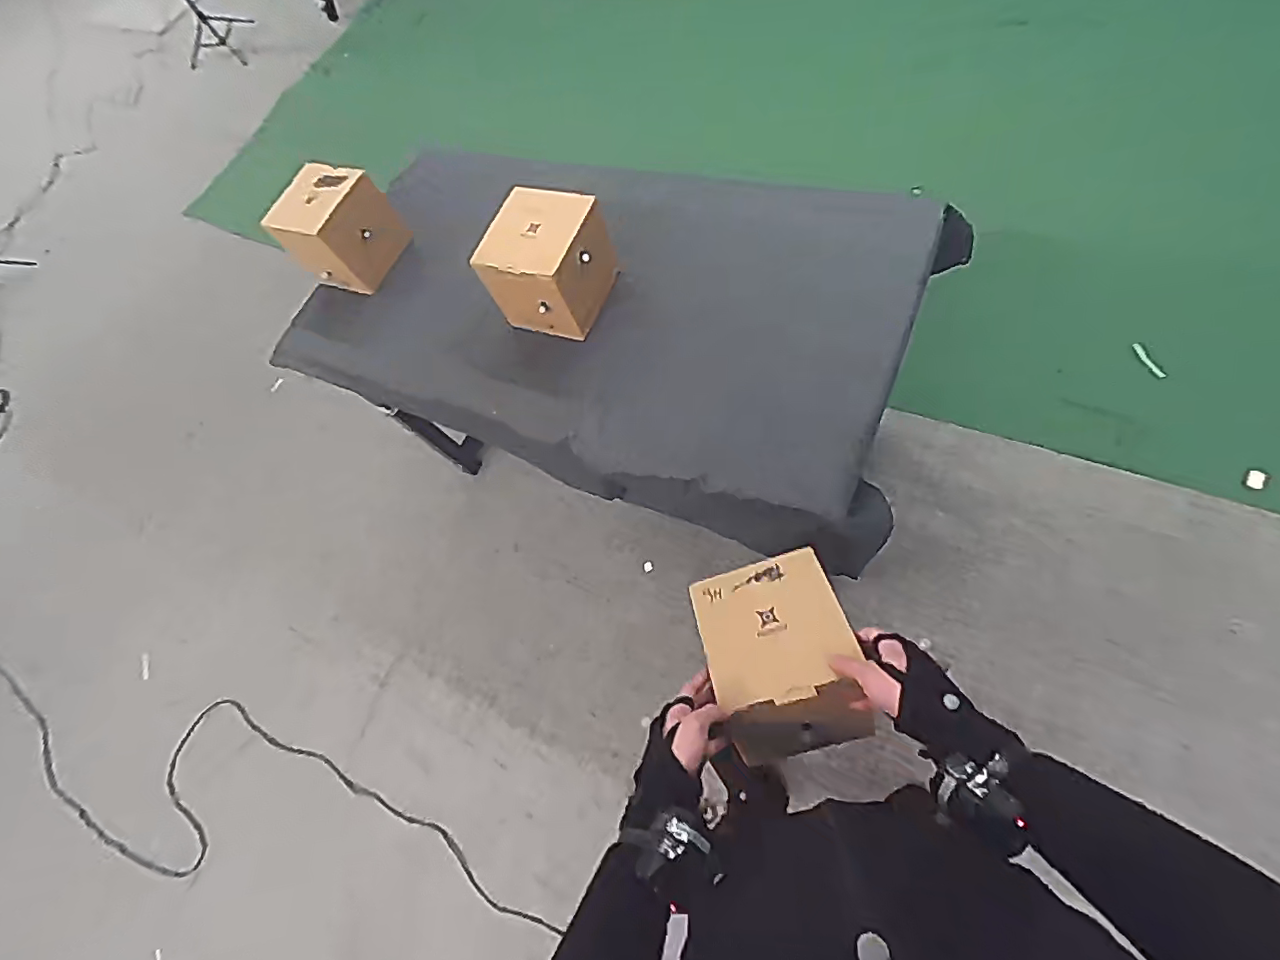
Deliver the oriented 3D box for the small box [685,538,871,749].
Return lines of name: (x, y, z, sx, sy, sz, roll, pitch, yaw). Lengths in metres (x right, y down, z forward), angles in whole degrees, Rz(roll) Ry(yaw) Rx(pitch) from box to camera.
small box: (0.169, 0.207, 0.664, 0.168, 0.176, 0.179, -19, 42, 7)

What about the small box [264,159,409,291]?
small box: (-0.622, -0.532, 1.137, 0.168, 0.176, 0.179, 18, 73, 20)

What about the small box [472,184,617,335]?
small box: (-0.157, -0.386, 0.962, 0.168, 0.176, 0.179, 18, 71, 19)
